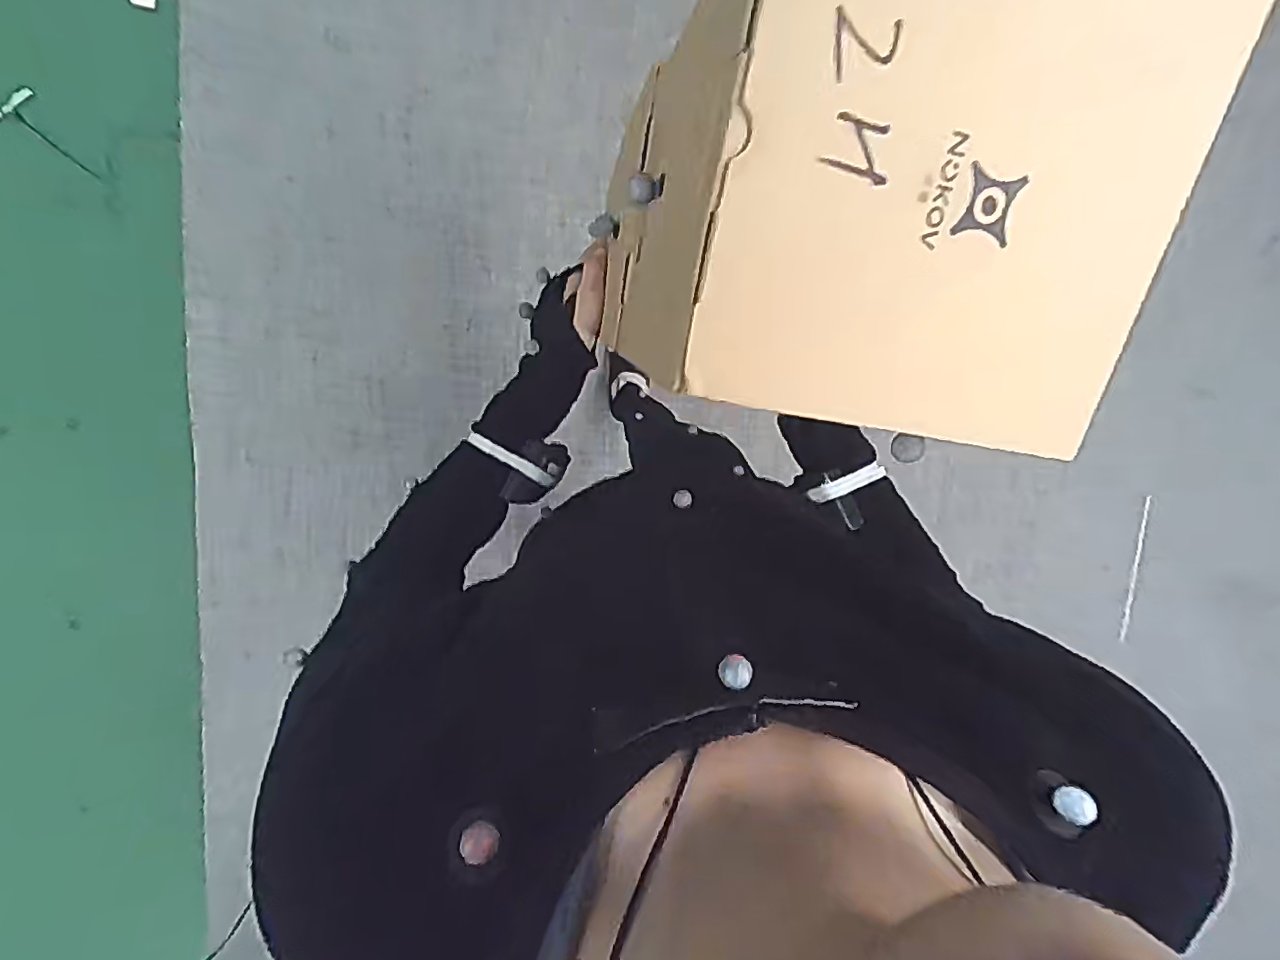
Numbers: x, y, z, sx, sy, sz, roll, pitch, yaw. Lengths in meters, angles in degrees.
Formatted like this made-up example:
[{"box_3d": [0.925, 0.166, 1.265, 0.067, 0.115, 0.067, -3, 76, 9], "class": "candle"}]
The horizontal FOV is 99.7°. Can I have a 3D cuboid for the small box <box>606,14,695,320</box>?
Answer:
[{"box_3d": [0.074, -0.194, 0.409, 0.179, 0.176, 0.168, 8, 107, -11], "class": "small box"}]

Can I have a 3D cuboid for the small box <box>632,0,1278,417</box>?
[{"box_3d": [0.104, -0.139, 0.257, 0.179, 0.176, 0.168, 8, 106, -11], "class": "small box"}]

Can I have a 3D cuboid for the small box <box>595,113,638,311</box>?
[{"box_3d": [0.054, -0.249, 0.563, 0.179, 0.176, 0.168, 7, 107, -10], "class": "small box"}]
